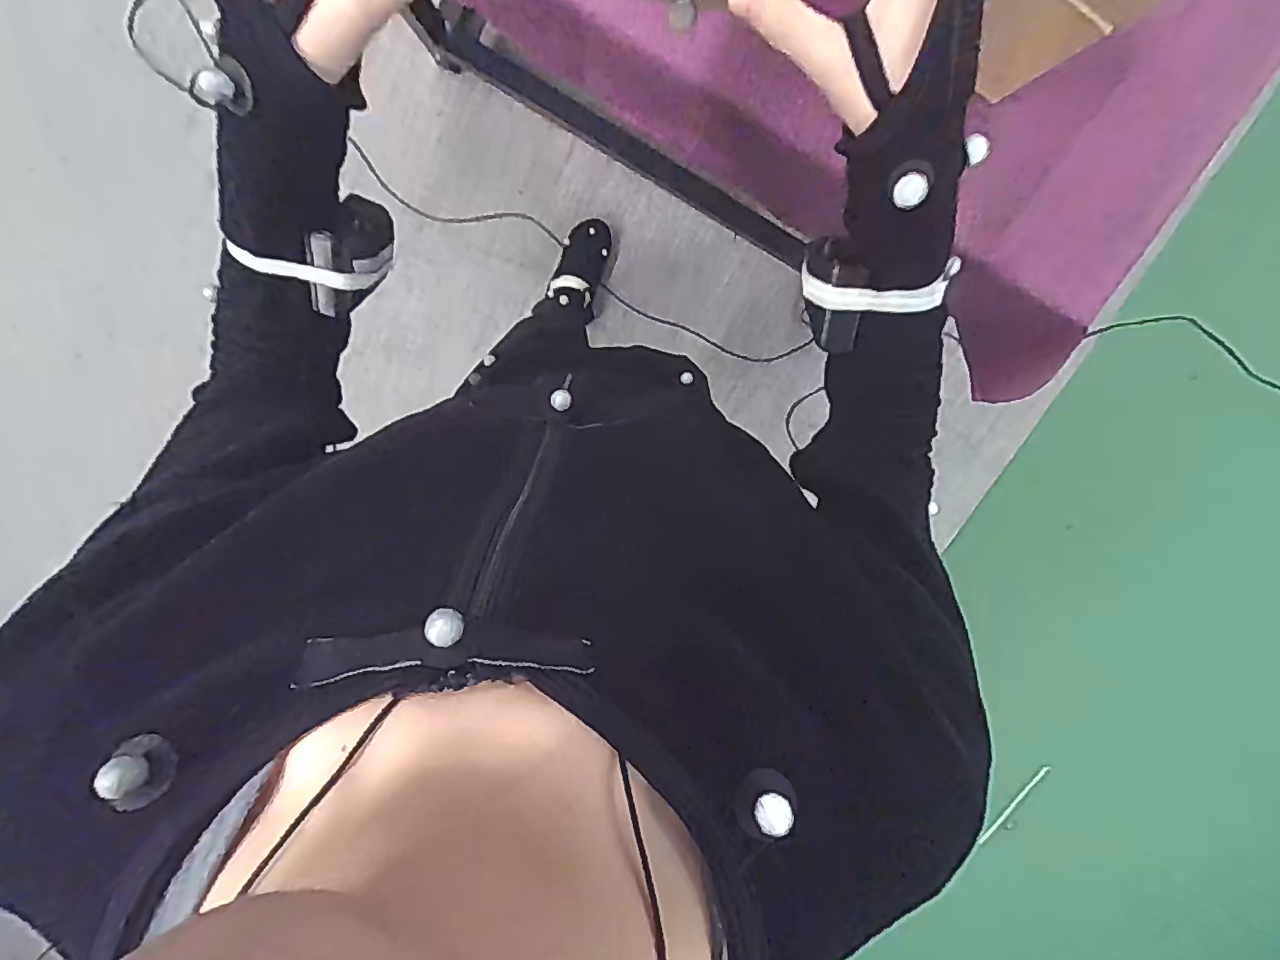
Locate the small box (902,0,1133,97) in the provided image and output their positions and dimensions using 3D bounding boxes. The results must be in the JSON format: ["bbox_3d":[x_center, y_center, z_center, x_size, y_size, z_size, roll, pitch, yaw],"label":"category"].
[{"bbox_3d":[0.392,-0.529,0.528,0.168,0.176,0.179,29,102,-8],"label":"small box"}]
